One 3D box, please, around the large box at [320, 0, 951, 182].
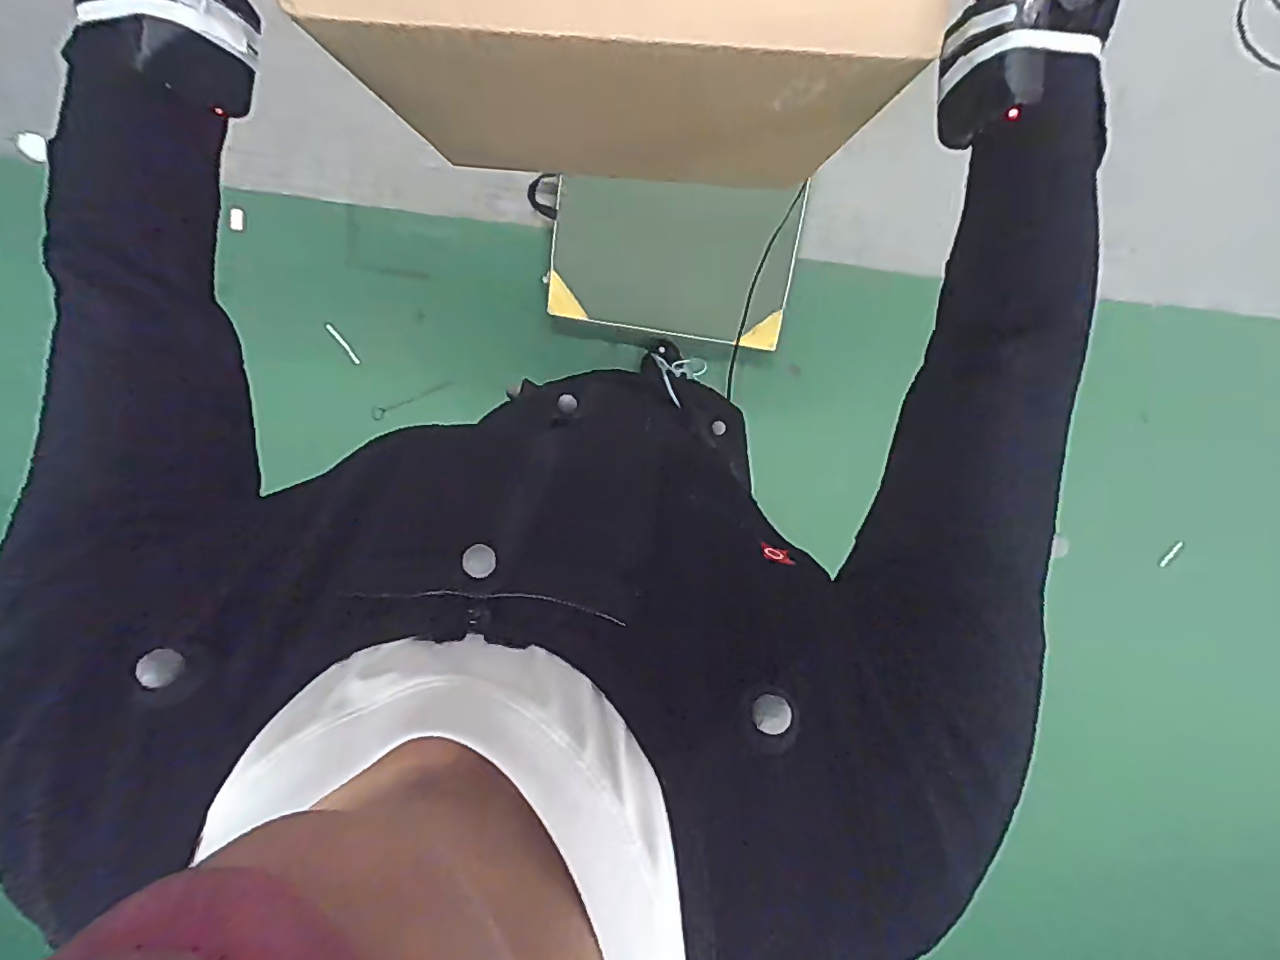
[{"bbox_3d":[0.000,-0.465,0.448,0.408,0.320,0.320,3,106,-2],"label":"large box"}]
